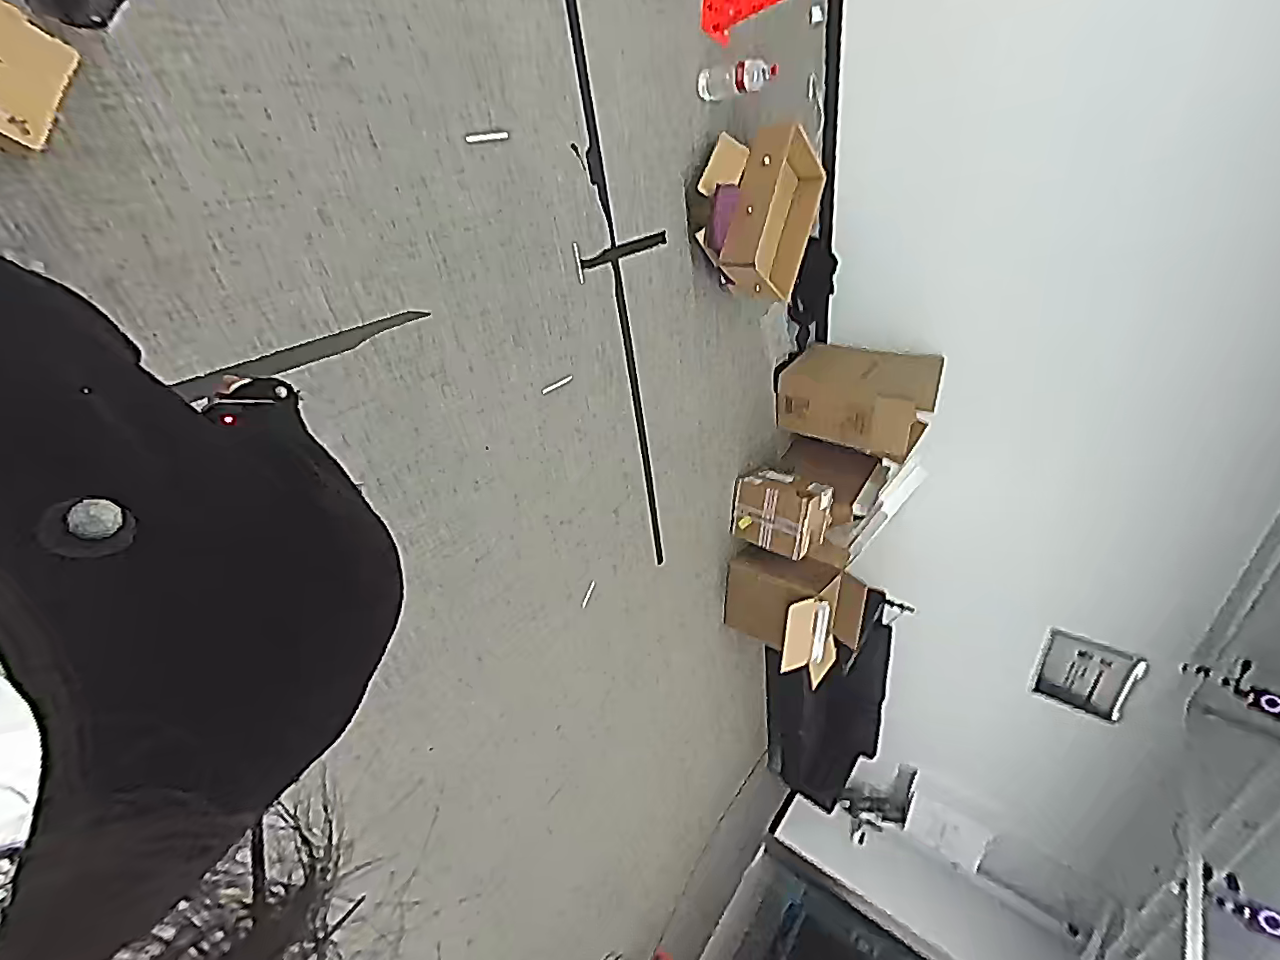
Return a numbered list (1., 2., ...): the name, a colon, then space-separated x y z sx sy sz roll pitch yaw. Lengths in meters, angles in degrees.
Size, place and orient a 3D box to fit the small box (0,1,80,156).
1. small box: -1.027 -0.642 0.840 0.168 0.176 0.179 23 87 -54
